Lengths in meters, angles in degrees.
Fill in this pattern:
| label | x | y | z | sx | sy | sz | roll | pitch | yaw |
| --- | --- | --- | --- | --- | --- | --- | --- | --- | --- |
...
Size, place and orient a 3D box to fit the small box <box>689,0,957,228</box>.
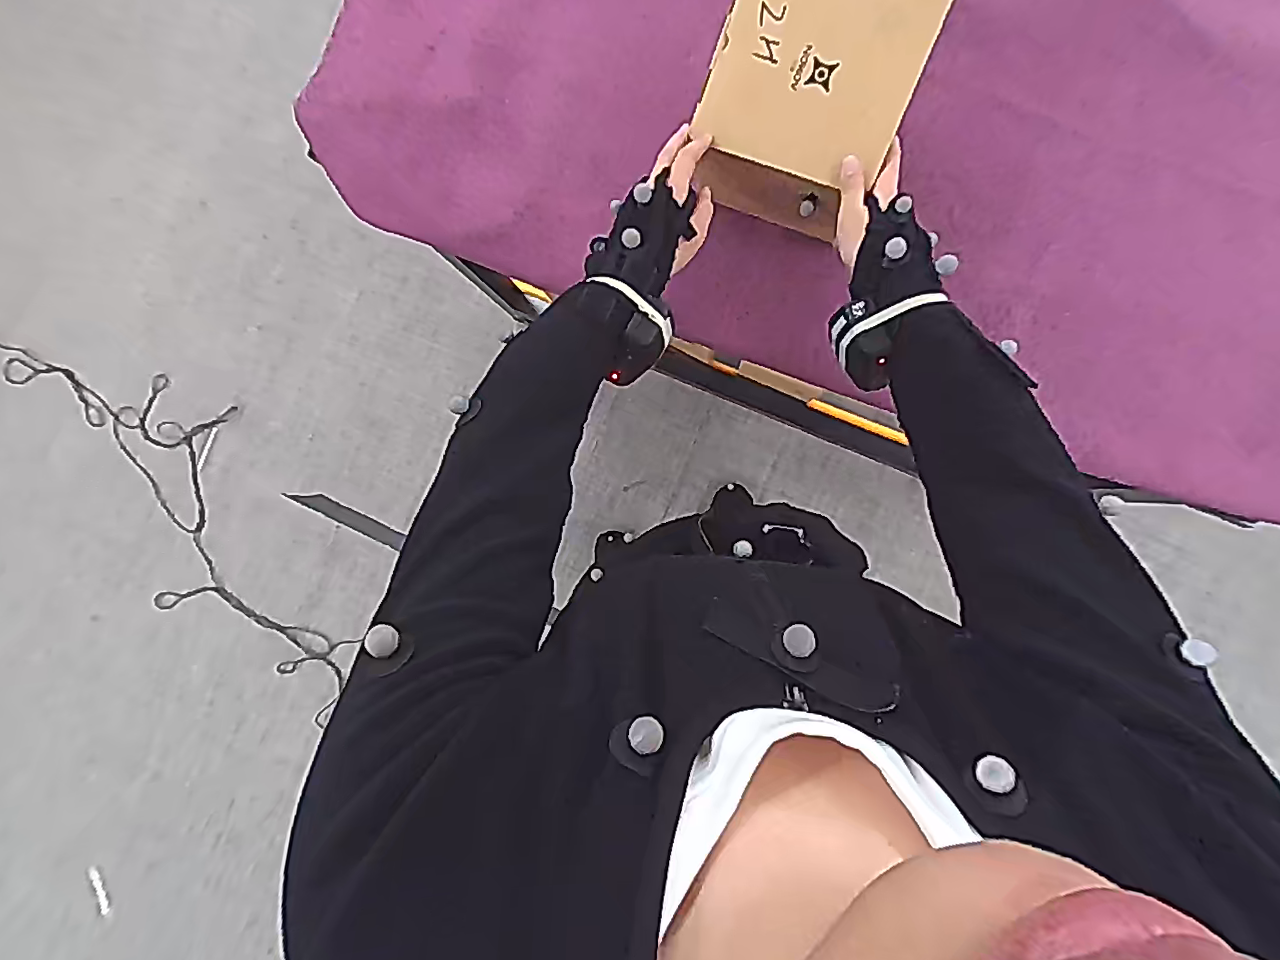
| label | x | y | z | sx | sy | sz | roll | pitch | yaw |
| --- | --- | --- | --- | --- | --- | --- | --- | --- | --- |
| small box | 0.166 | -0.372 | 0.539 | 0.179 | 0.176 | 0.168 | 23 | 104 | 6 |
